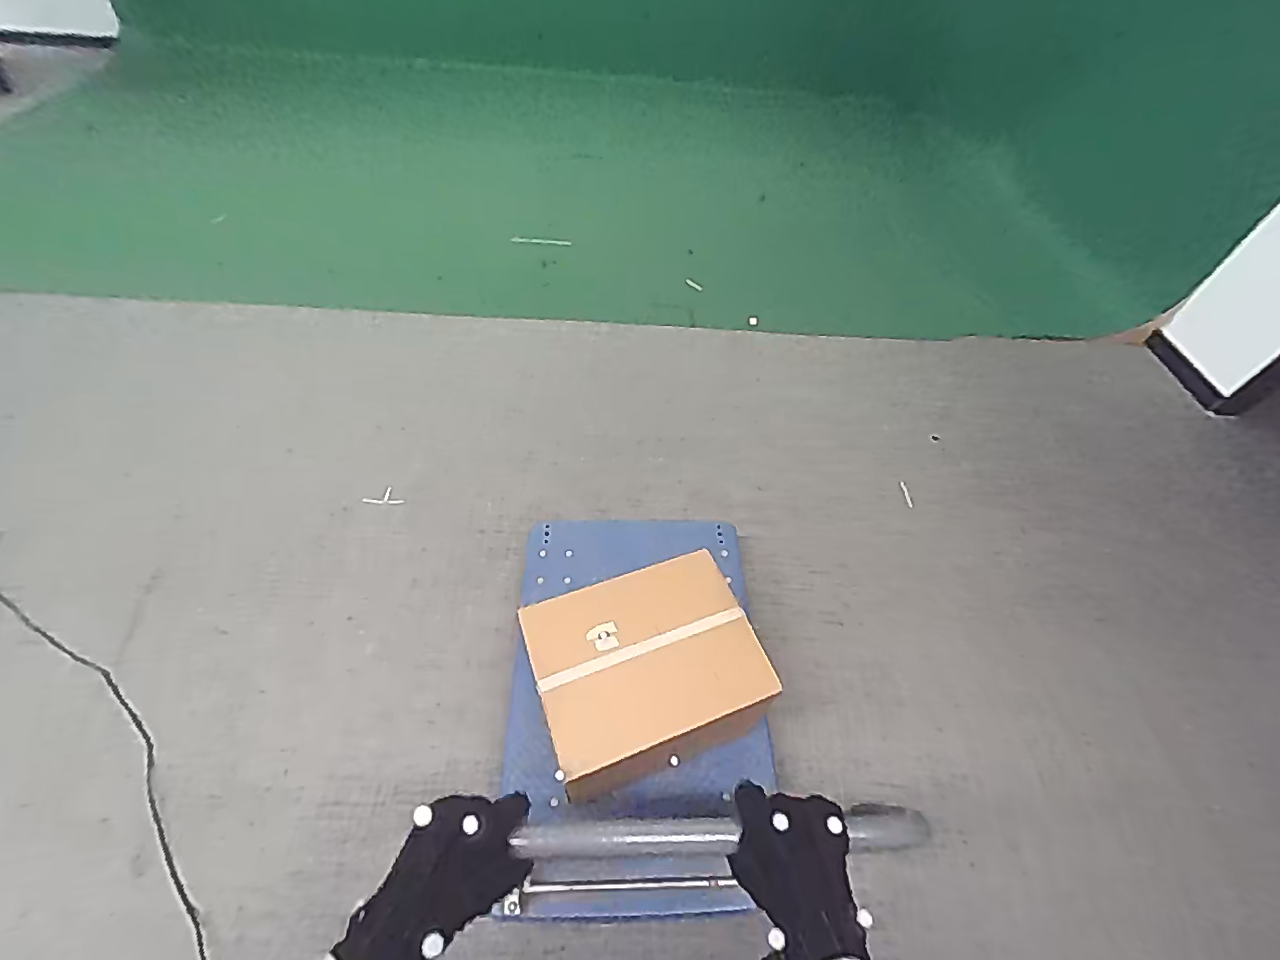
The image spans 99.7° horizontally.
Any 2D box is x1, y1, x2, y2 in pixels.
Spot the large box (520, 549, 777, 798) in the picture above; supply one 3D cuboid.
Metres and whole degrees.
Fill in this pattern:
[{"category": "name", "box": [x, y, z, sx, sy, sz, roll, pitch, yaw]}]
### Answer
[{"category": "large box", "box": [0.004, 0.396, 1.110, 0.408, 0.320, 0.320, -16, 55, -15]}]
